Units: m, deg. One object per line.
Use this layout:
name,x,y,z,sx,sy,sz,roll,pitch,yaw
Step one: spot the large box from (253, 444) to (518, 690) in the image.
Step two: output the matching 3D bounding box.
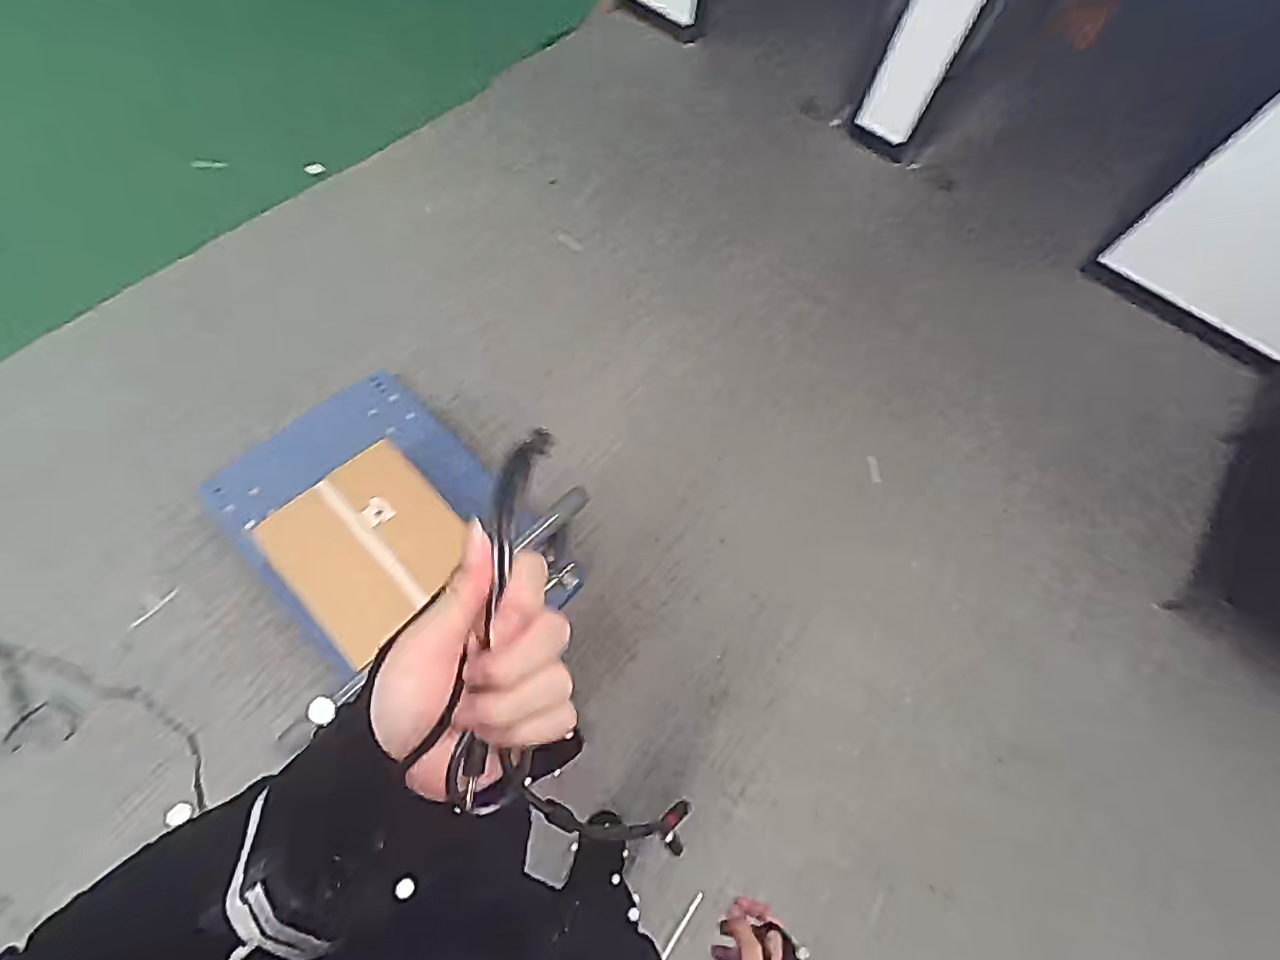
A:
large box,-0.532,0.206,1.207,0.320,0.320,0.408,-41,76,-21
